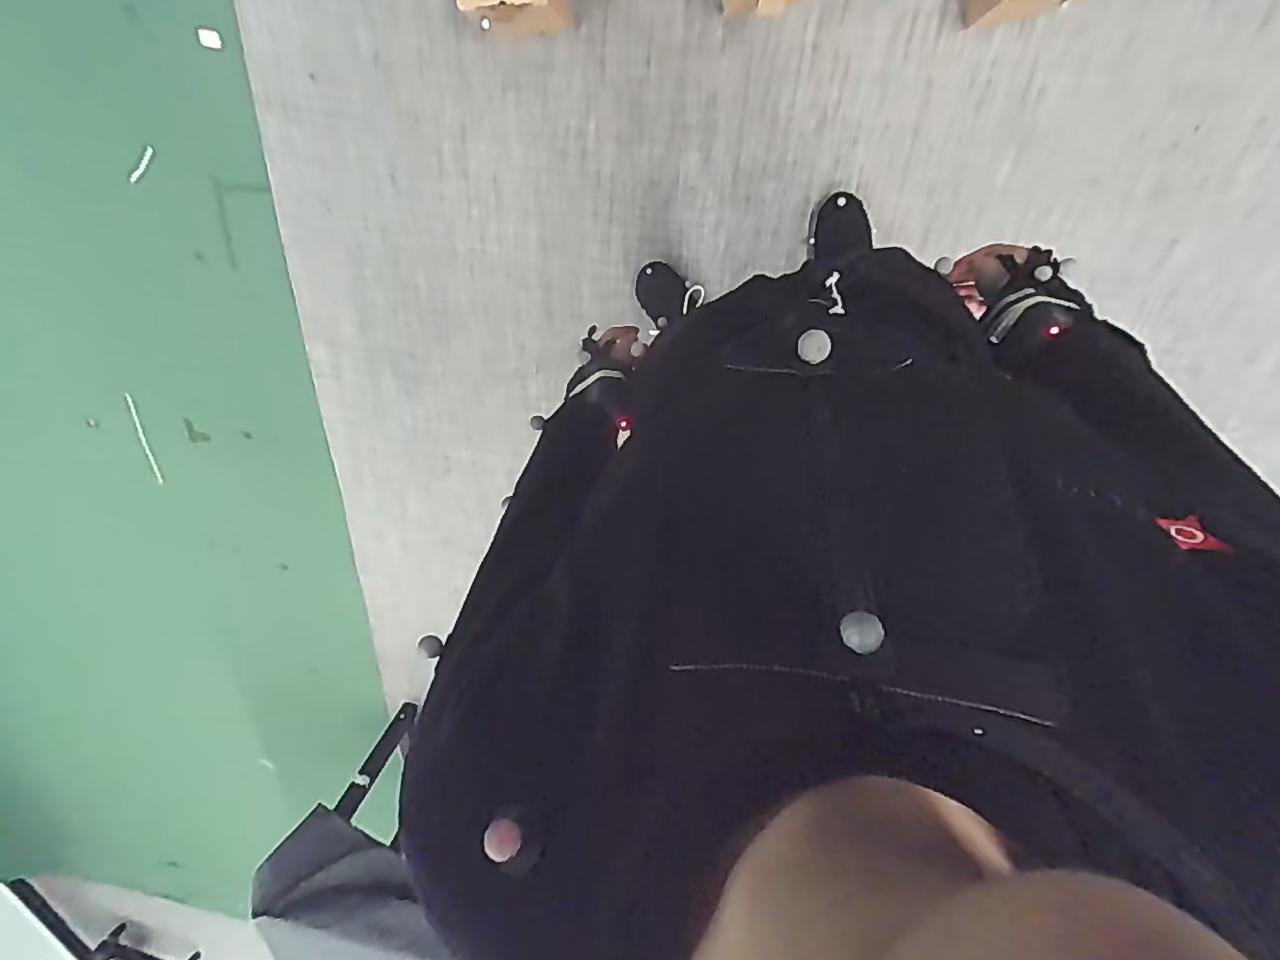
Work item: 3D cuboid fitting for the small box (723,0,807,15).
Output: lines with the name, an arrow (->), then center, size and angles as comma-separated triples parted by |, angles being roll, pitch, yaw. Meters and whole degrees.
small box -> 0.213, -0.902, 0.877 | 0.168, 0.176, 0.179 | -1, 117, 11

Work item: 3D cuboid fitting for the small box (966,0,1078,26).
small box -> 0.626, -0.839, 0.834 | 0.168, 0.176, 0.179 | -5, 115, 11
